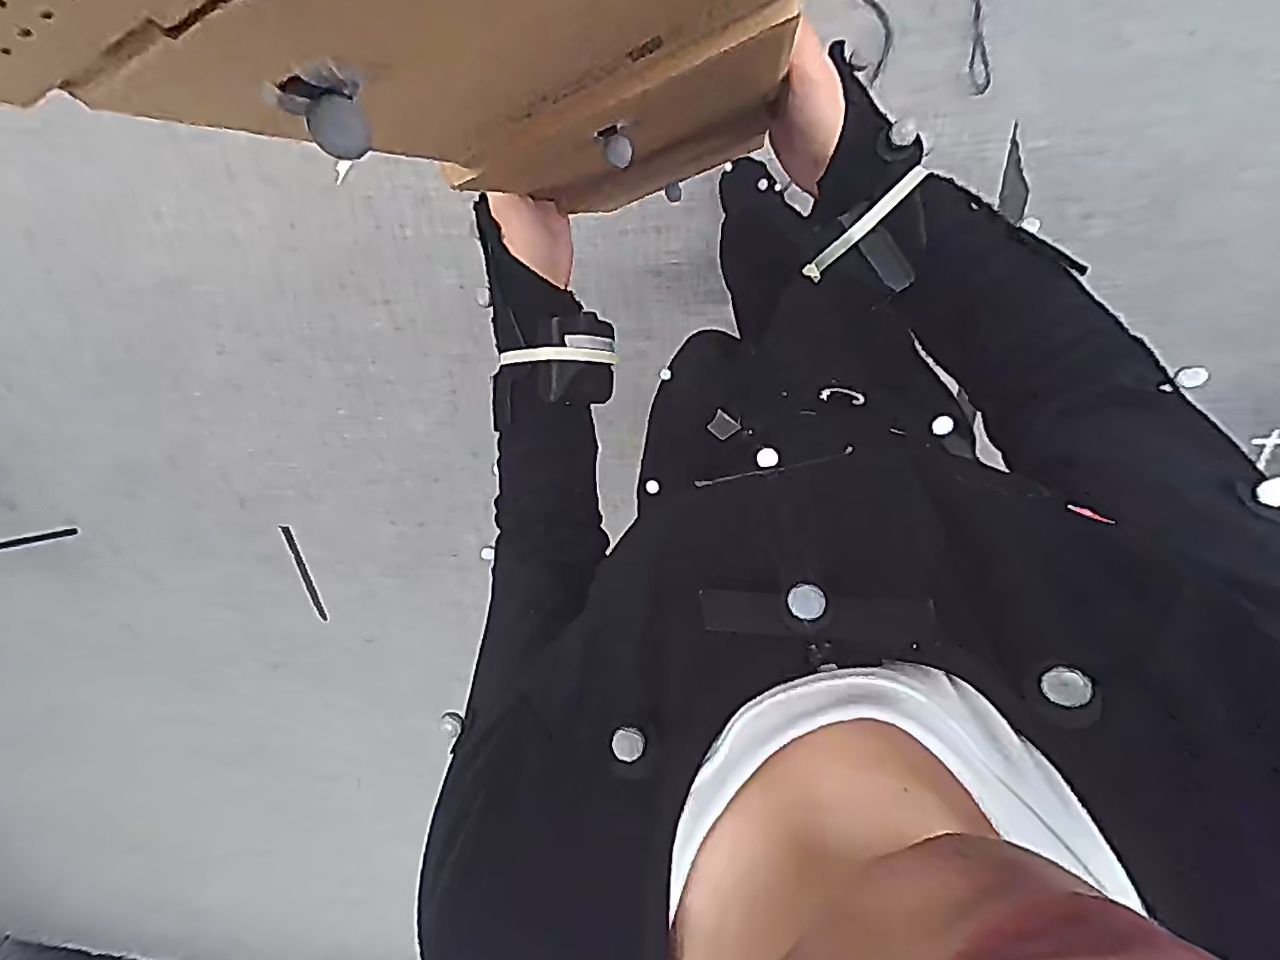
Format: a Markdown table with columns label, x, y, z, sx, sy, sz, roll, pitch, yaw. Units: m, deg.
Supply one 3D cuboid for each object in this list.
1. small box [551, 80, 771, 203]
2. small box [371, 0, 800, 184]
| label | x | y | z | sx | sy | sz | roll | pitch | yaw |
| --- | --- | --- | --- | --- | --- | --- | --- | --- | --- |
| small box | 0.000 | -0.338 | 0.429 | 0.168 | 0.176 | 0.179 | -14 | 113 | 18 |
| small box | -0.028 | -0.275 | 0.282 | 0.179 | 0.176 | 0.168 | -14 | 113 | 19 |
